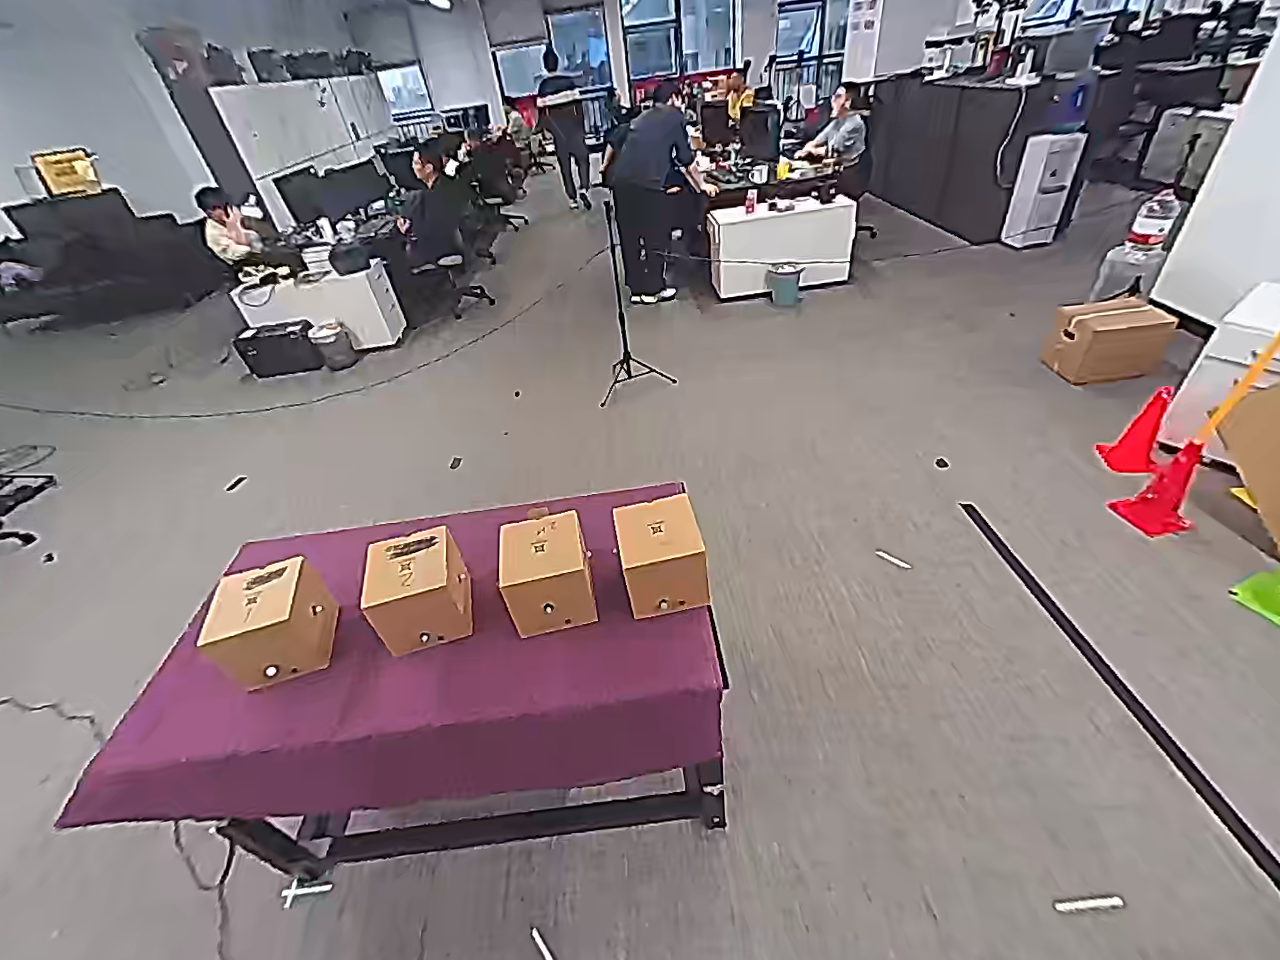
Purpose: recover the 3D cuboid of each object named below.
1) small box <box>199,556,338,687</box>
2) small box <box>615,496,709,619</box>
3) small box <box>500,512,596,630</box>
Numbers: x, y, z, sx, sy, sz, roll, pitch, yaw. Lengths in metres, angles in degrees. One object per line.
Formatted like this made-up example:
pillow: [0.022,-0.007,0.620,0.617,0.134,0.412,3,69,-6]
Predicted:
small box: [-0.756,0.293,1.127,0.168,0.176,0.179,-16,40,-9]
small box: [0.046,0.163,1.144,0.168,0.176,0.179,-11,38,-1]
small box: [-0.191,0.197,1.145,0.168,0.176,0.179,-11,38,-4]
